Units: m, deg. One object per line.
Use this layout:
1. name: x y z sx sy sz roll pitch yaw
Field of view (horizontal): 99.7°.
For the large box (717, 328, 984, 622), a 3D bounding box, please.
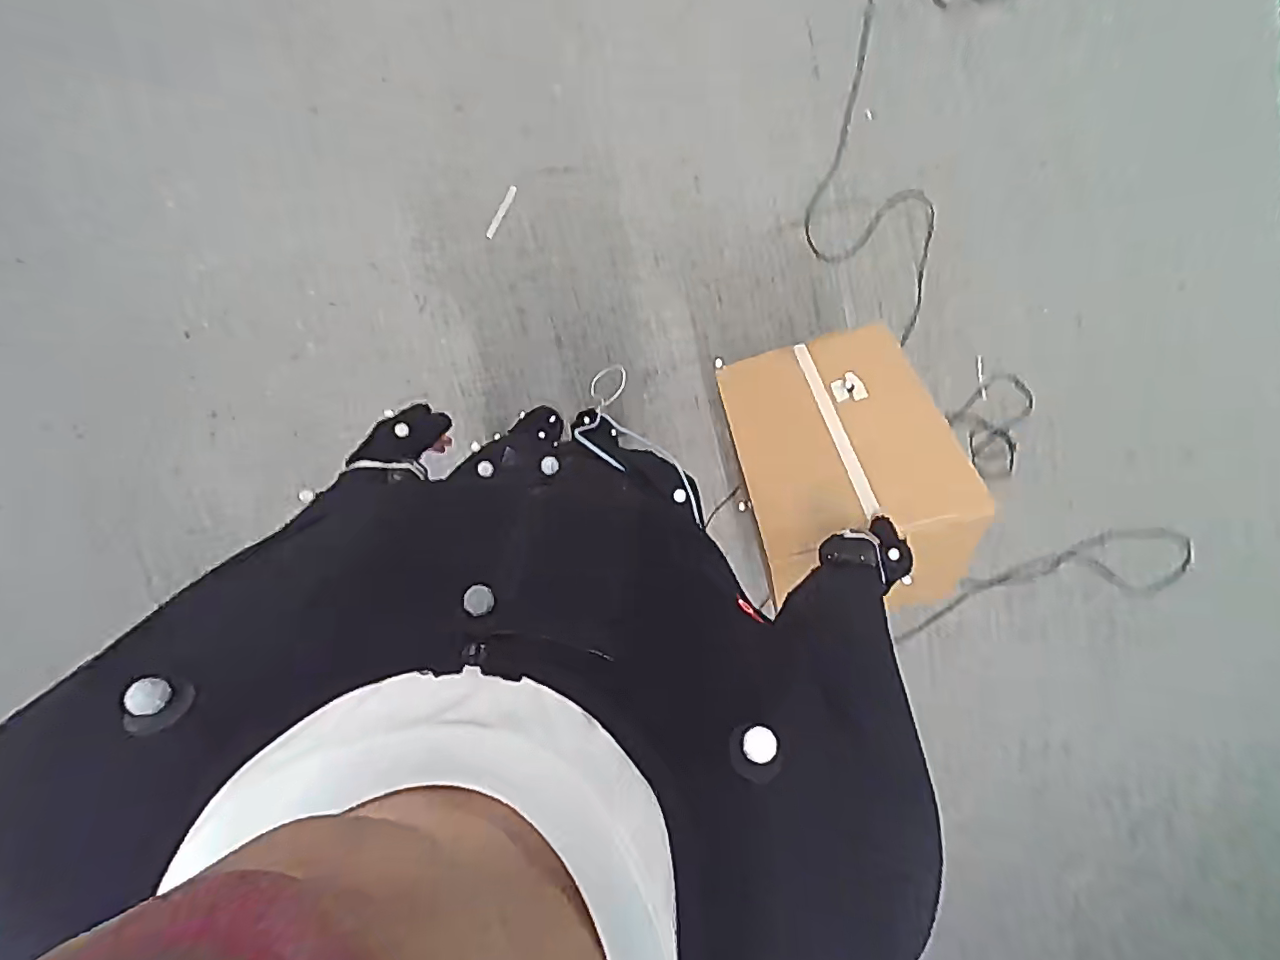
1. large box: 0.352 -0.001 1.002 0.320 0.408 0.320 -13 143 8
